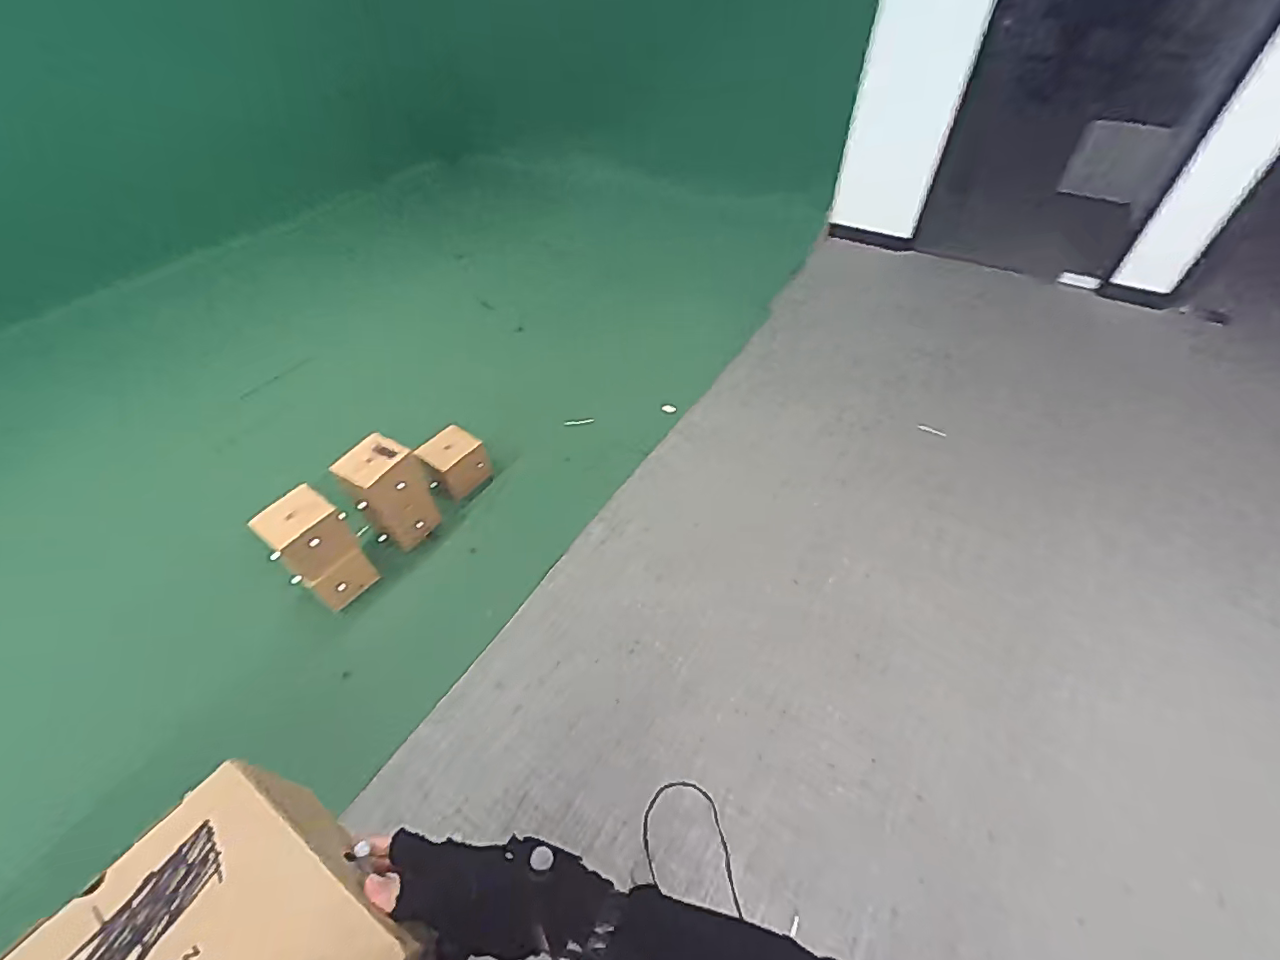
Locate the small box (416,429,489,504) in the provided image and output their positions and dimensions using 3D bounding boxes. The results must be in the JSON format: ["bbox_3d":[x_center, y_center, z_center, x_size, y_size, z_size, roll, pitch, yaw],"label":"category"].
[{"bbox_3d":[-0.669,-0.049,1.955,0.168,0.176,0.179,28,54,25],"label":"small box"}]

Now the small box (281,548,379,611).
[{"bbox_3d":[-0.949,0.279,1.670,0.179,0.176,0.168,29,55,25],"label":"small box"}]

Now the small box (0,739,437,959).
[{"bbox_3d":[-0.264,0.318,0.365,0.179,0.176,0.168,37,55,15],"label":"small box"}]

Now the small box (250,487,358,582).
[{"bbox_3d":[-0.957,0.160,1.556,0.168,0.176,0.179,28,55,24],"label":"small box"}]
